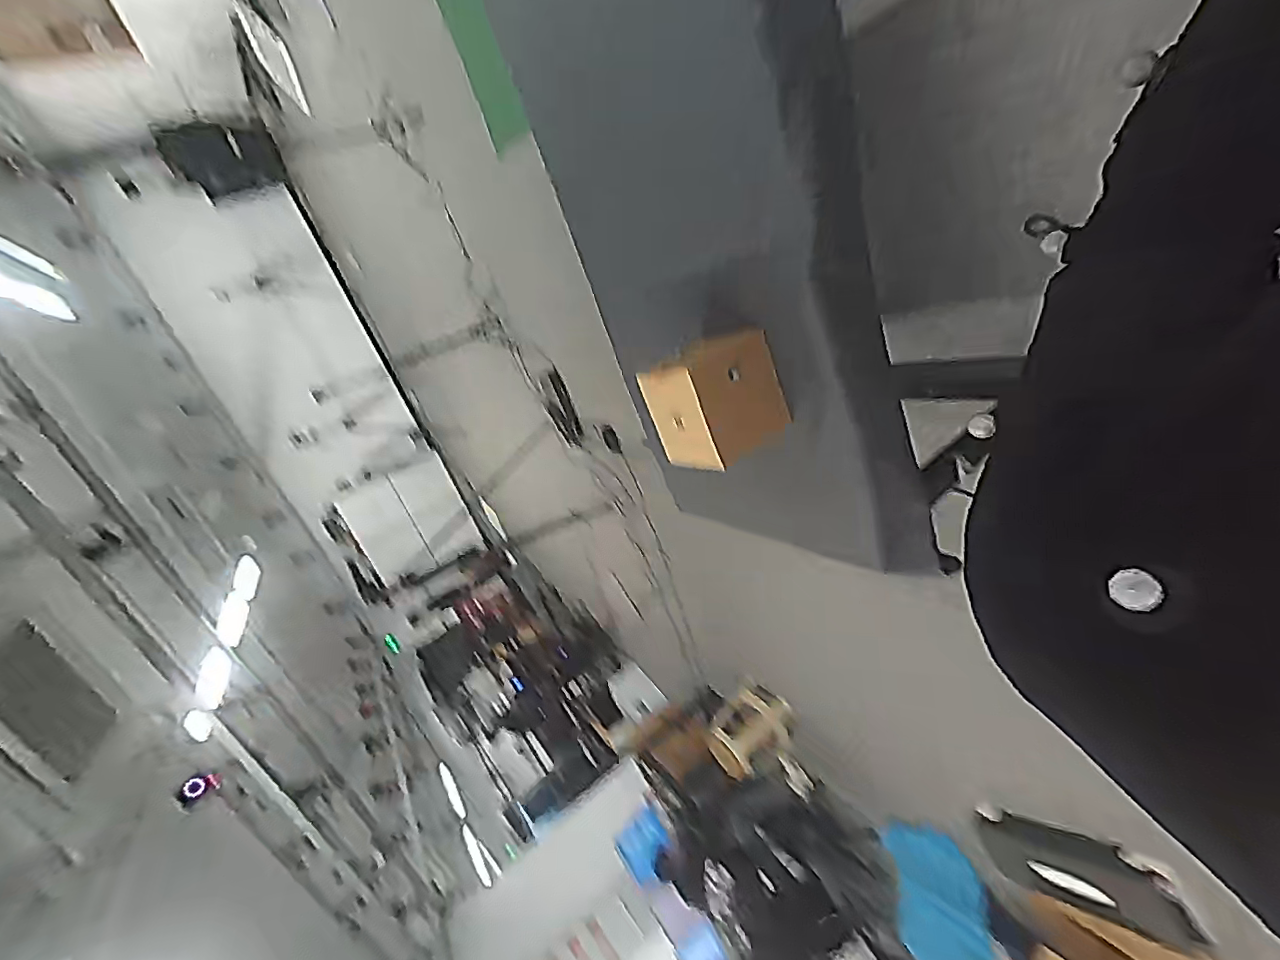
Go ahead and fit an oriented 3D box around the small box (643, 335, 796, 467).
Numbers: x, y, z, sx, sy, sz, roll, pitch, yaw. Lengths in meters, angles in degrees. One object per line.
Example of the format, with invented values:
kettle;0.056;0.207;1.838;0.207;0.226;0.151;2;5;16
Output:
small box;0.139;-0.142;0.944;0.168;0.176;0.179;11;128;61
